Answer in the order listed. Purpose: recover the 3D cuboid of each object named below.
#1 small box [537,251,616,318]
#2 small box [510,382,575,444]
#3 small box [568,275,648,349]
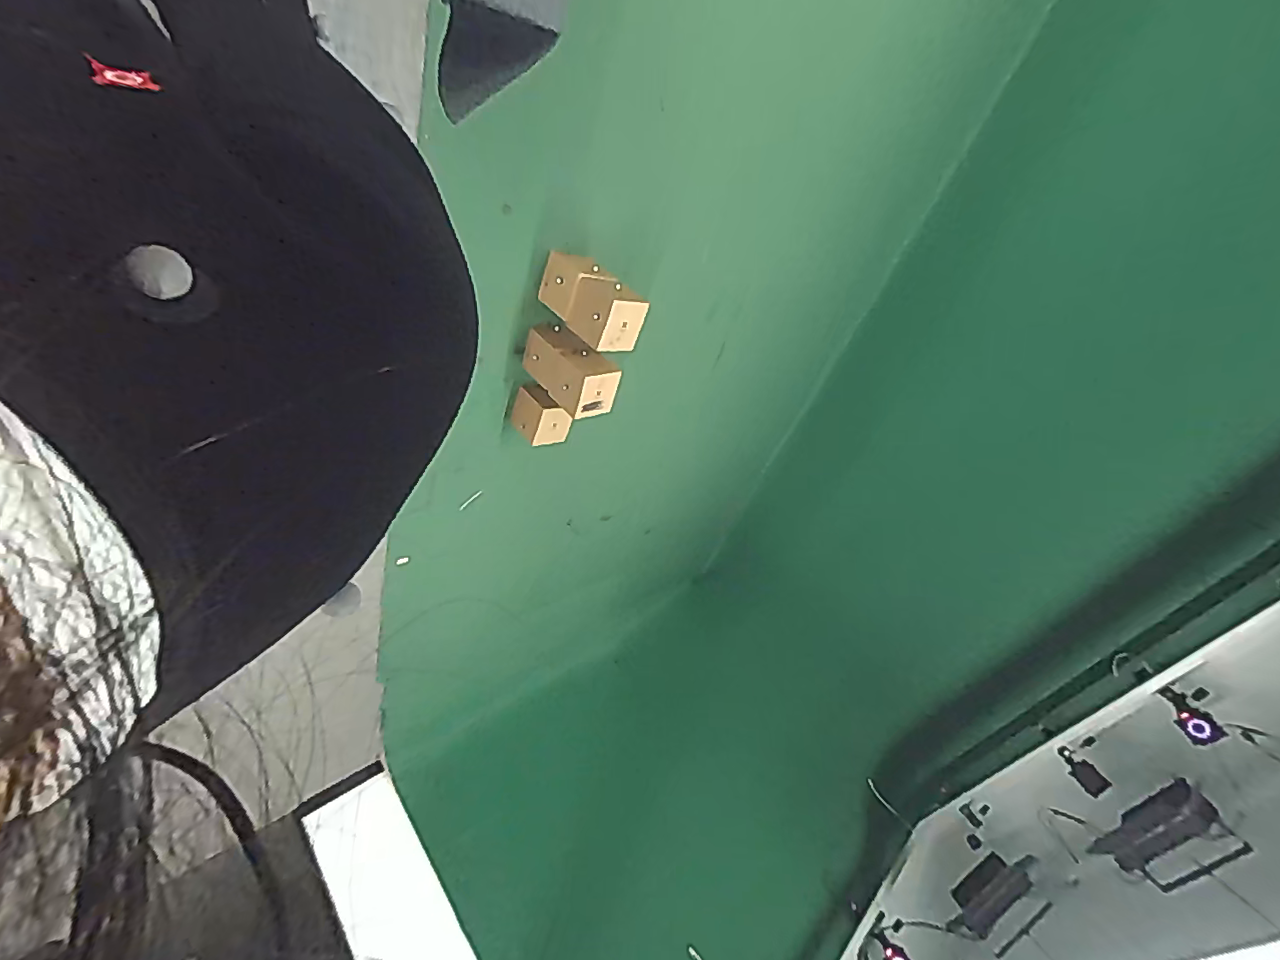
[{"bbox_3d":[-0.220,-0.654,1.824,0.179,0.176,0.168,-13,138,-47],"label":"small box"},{"bbox_3d":[-0.389,-0.266,2.121,0.168,0.176,0.179,-14,139,-46],"label":"small box"},{"bbox_3d":[-0.111,-0.547,1.761,0.168,0.176,0.179,-14,139,-46],"label":"small box"}]
